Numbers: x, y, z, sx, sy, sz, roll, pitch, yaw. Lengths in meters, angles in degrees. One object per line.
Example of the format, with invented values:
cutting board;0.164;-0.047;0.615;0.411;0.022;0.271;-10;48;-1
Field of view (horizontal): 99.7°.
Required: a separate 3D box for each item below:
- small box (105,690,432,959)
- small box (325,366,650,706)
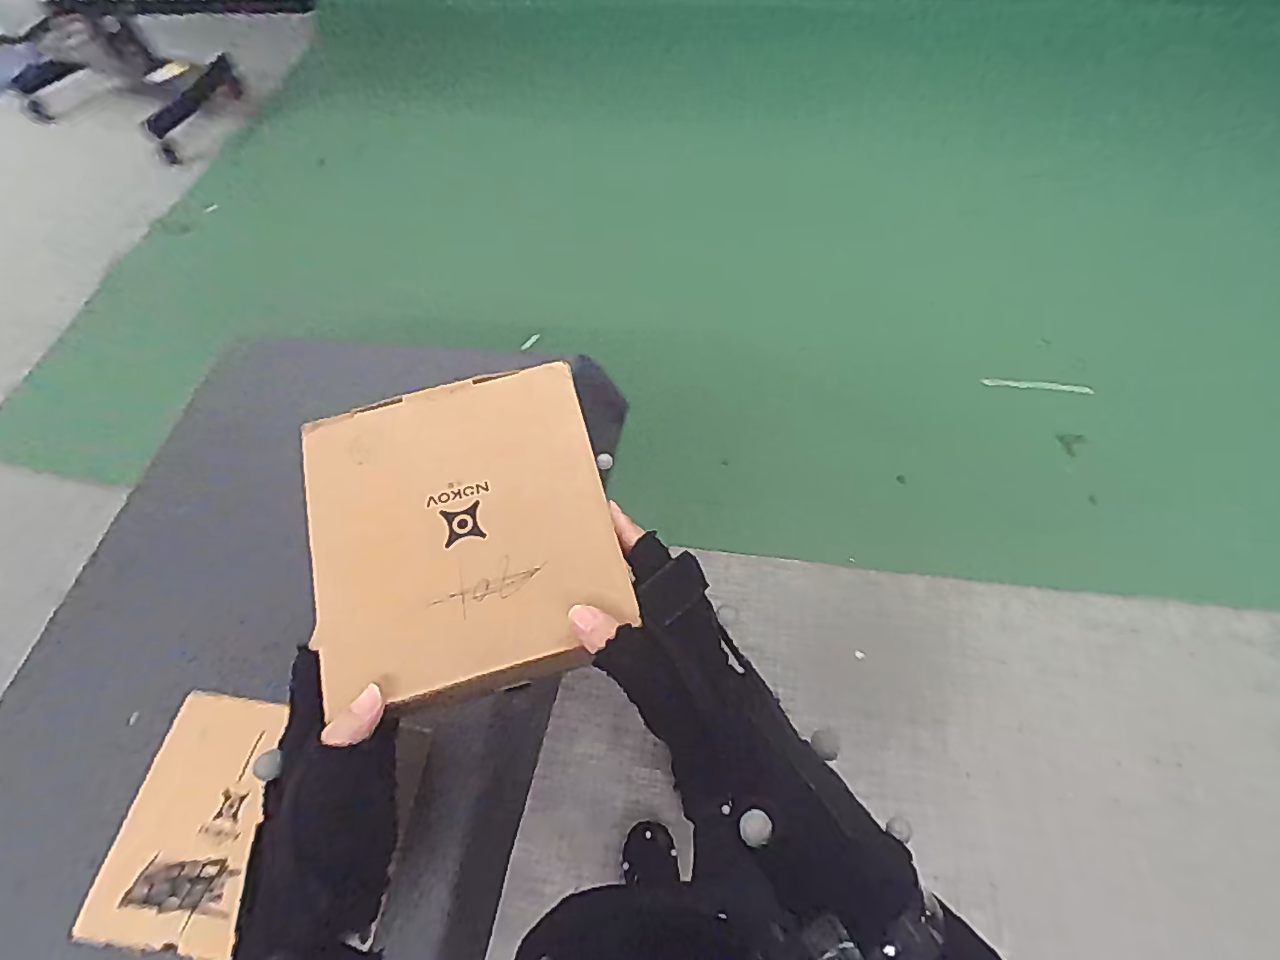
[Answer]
small box;-0.328;0.318;0.527;0.168;0.176;0.179;5;61;6
small box;-0.096;0.050;0.386;0.168;0.176;0.179;-14;70;-6
